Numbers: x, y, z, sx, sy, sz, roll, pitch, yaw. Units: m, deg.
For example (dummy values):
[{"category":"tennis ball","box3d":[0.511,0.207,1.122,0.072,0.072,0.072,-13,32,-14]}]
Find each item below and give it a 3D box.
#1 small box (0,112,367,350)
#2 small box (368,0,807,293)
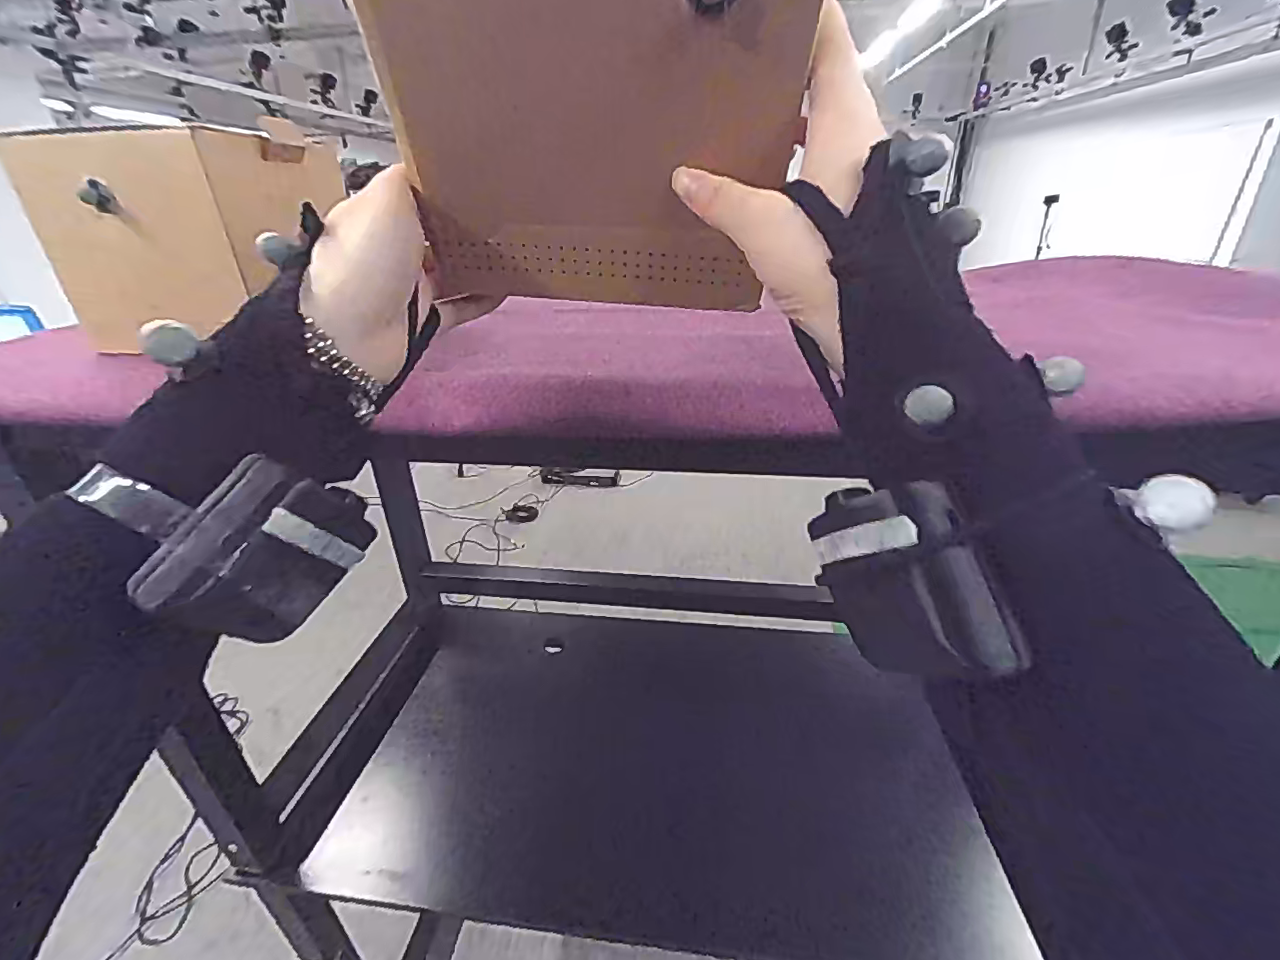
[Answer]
[{"category":"small box","box3d":[-0.389,-0.220,0.494,0.179,0.176,0.168,2,28,7]},{"category":"small box","box3d":[-0.017,-0.213,0.271,0.179,0.176,0.168,5,52,2]}]
